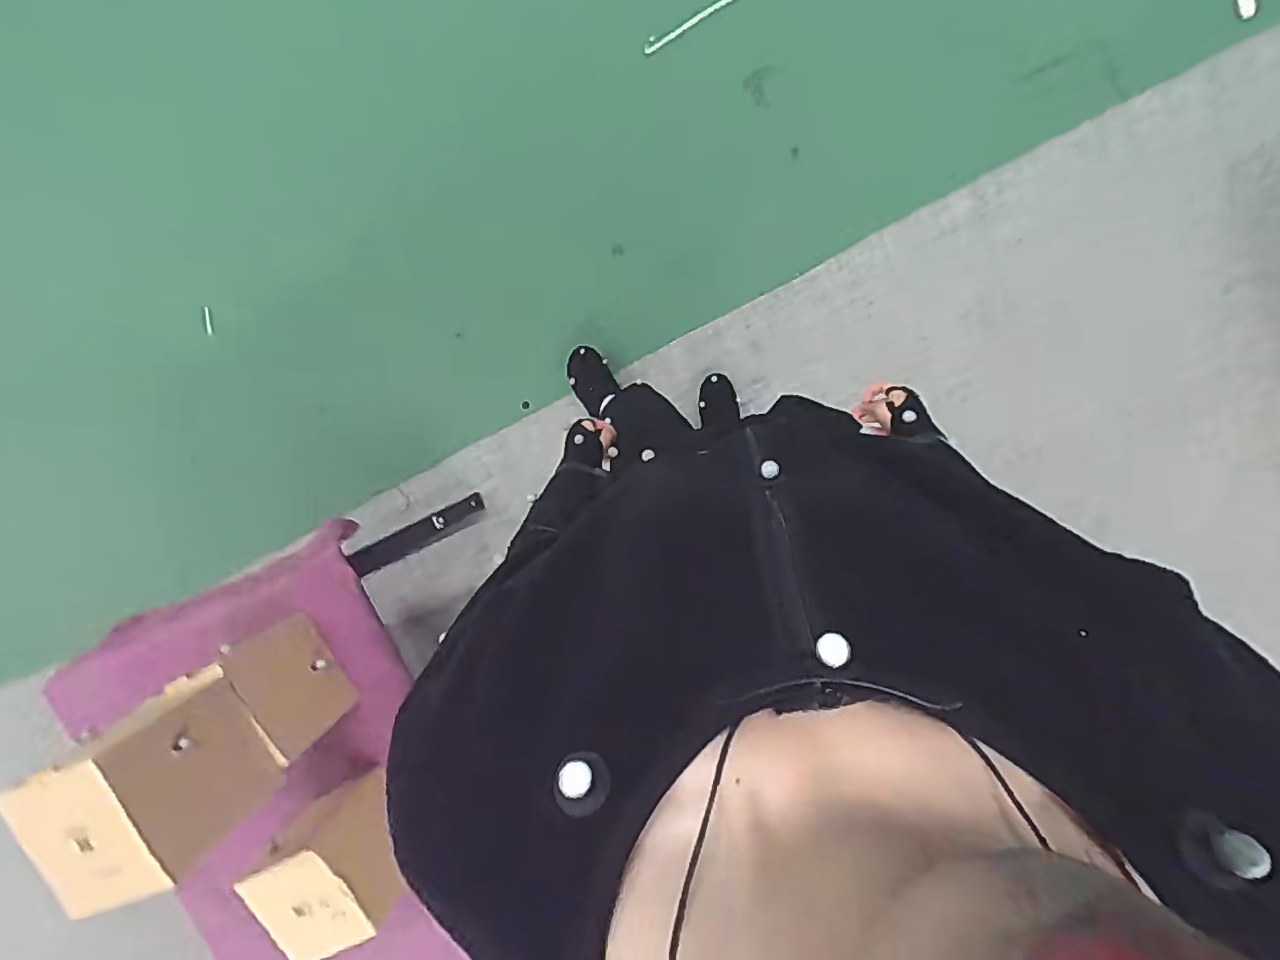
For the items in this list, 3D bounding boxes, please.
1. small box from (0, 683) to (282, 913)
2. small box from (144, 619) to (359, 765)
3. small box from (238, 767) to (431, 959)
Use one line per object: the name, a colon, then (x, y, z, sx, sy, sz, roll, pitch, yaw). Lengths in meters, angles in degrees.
small box: (-0.612, 0.384, 0.685, 0.168, 0.176, 0.179, -22, 98, 11)
small box: (-0.589, 0.340, 0.842, 0.168, 0.176, 0.179, -29, 96, 12)
small box: (-0.482, 0.614, 0.880, 0.179, 0.176, 0.168, -31, 96, 13)
